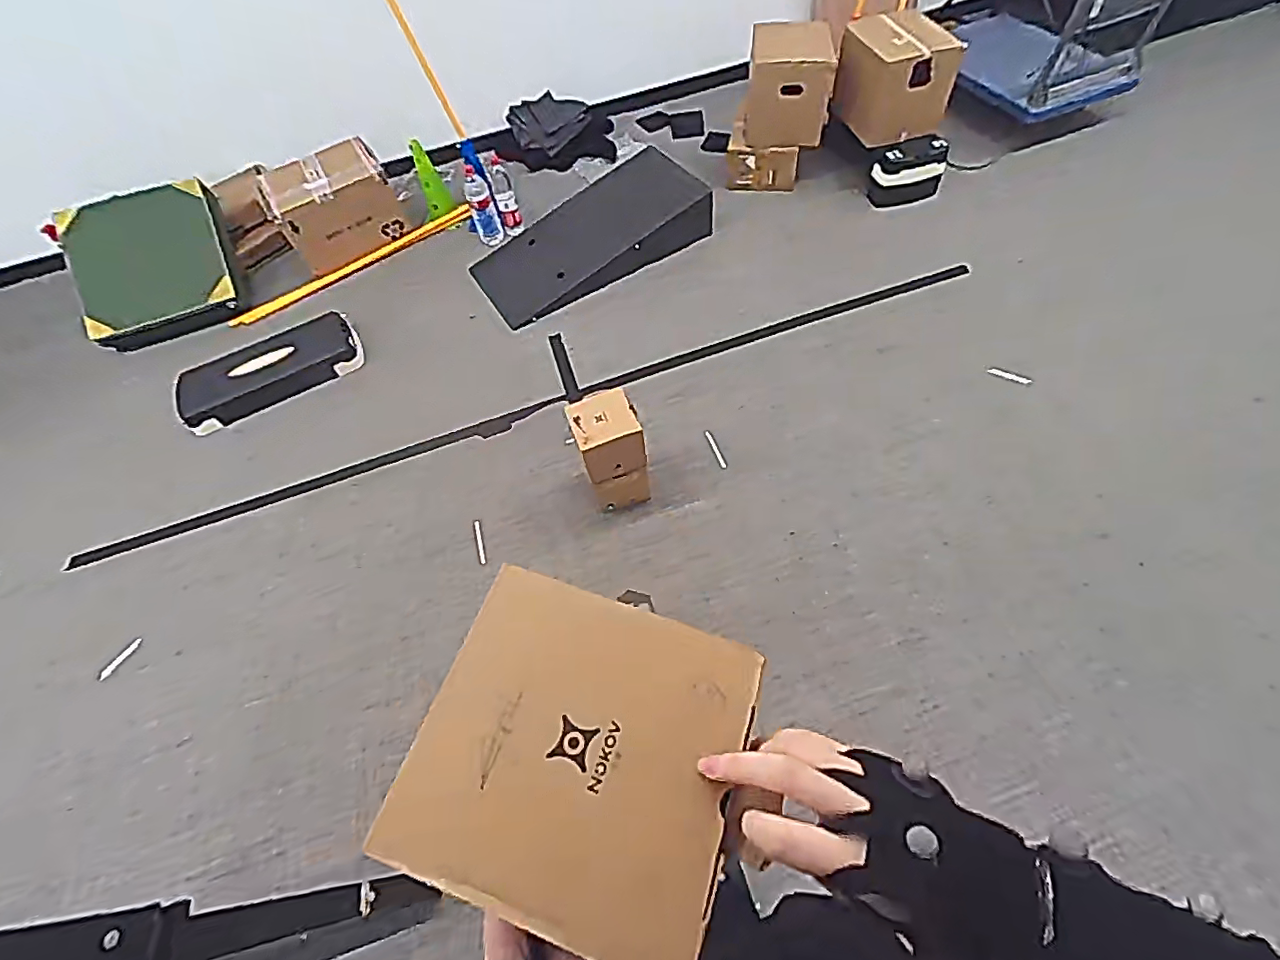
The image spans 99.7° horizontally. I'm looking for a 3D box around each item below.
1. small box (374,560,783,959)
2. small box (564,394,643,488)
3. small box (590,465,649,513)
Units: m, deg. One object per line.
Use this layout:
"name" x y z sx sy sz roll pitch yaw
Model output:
"small box" -0.025 0.181 0.362 0.179 0.176 0.168 18 62 11
"small box" -0.096 -0.107 1.518 0.179 0.176 0.168 -20 57 -7
"small box" -0.075 -0.017 1.654 0.168 0.176 0.179 -16 56 -4
